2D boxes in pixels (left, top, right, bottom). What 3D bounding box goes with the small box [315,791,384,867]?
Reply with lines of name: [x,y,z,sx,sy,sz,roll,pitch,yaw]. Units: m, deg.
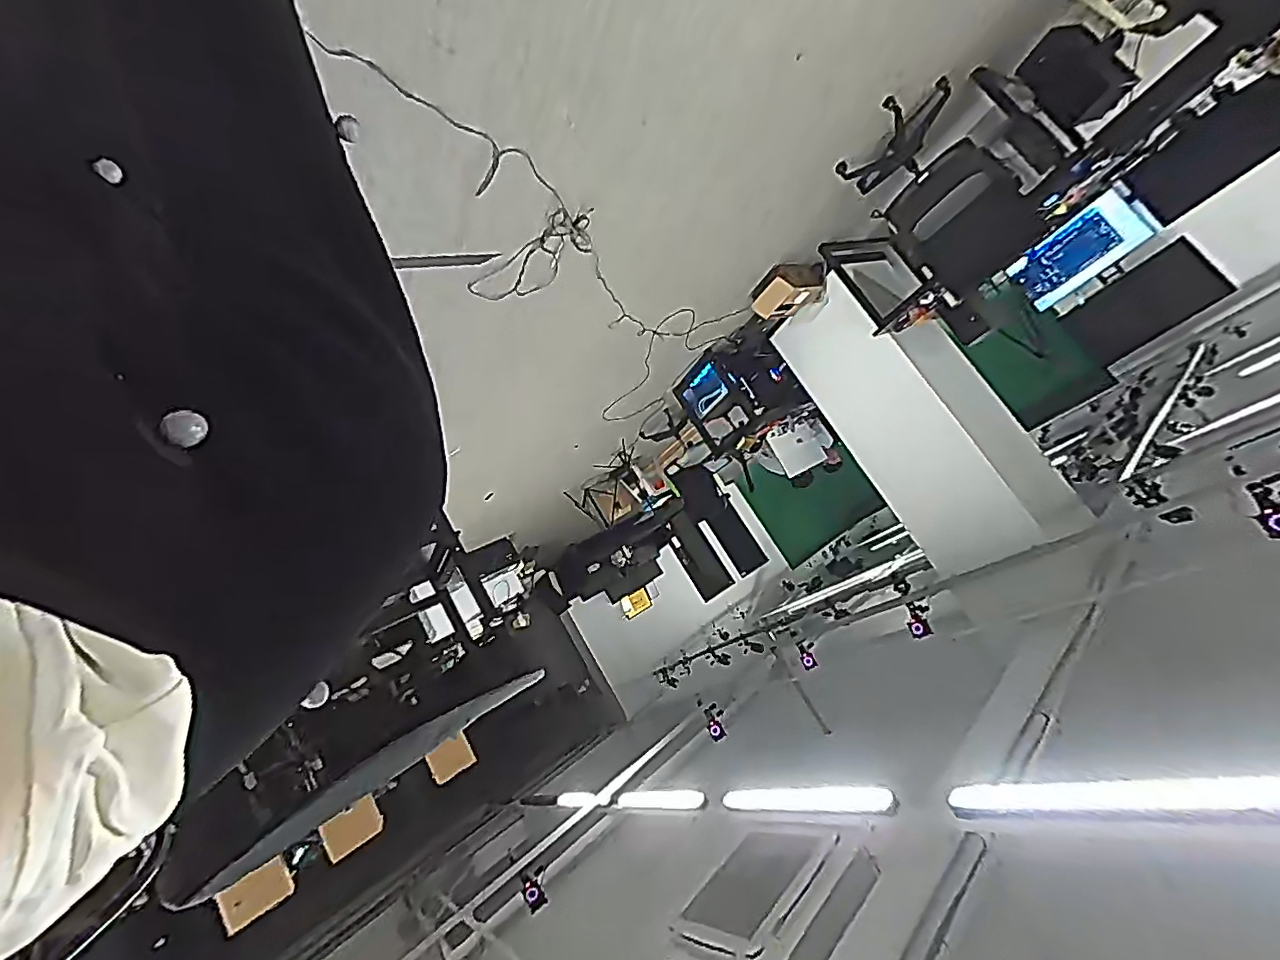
small box: [-1.058,1.259,1.963,0.168,0.176,0.179,-24,167,-39]

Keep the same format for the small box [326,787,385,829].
small box: [-1.146,1.363,2.162,0.179,0.176,0.168,-22,165,-37]

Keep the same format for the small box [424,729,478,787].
small box: [-0.842,1.231,2.400,0.168,0.176,0.179,-24,166,-34]
